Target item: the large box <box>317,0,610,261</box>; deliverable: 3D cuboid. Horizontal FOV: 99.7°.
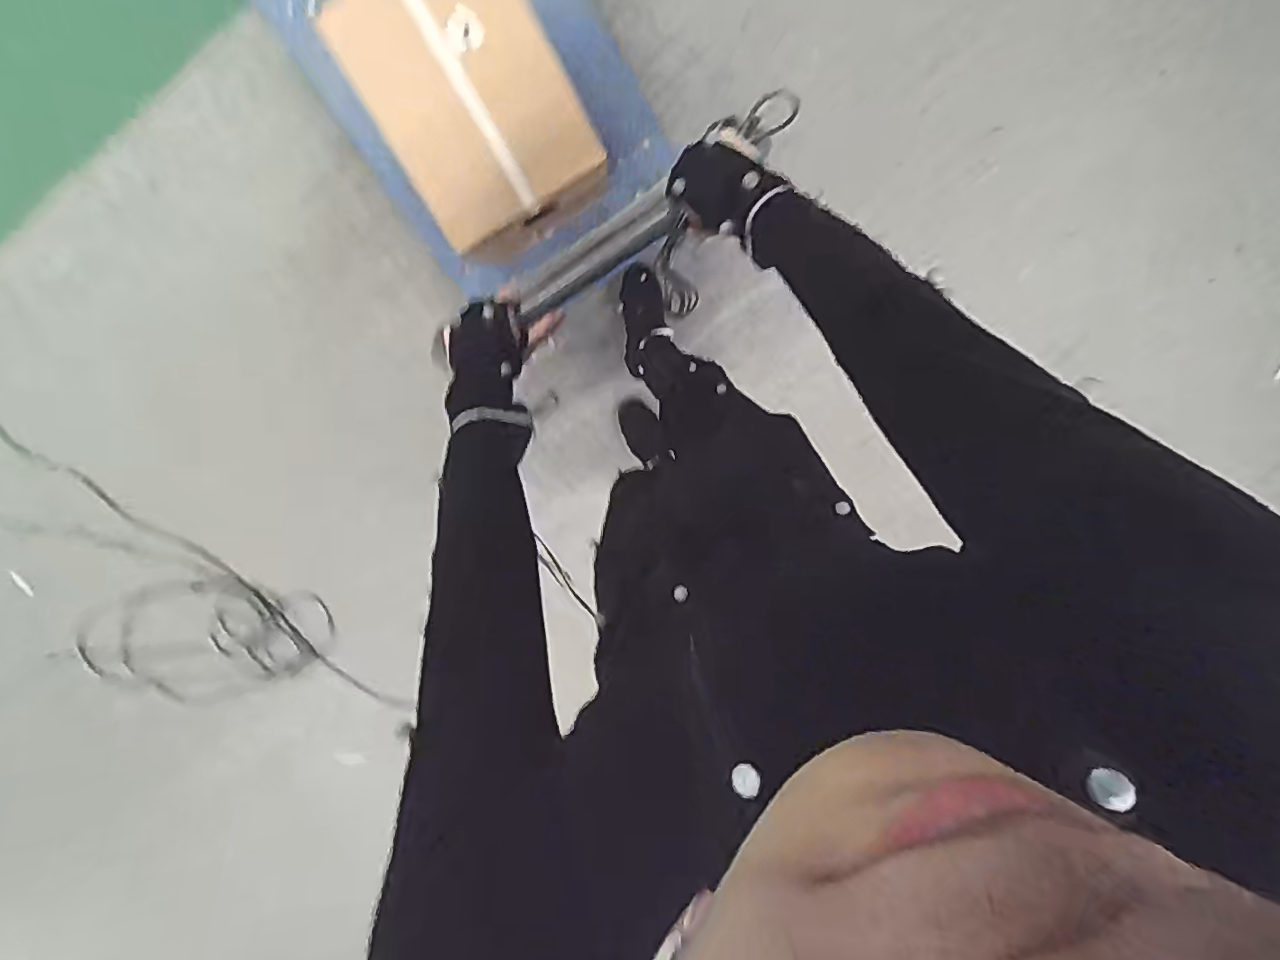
[{"bbox_3d":[-0.289,-0.692,1.035,0.320,0.320,0.408,-29,106,6],"label":"large box"}]
